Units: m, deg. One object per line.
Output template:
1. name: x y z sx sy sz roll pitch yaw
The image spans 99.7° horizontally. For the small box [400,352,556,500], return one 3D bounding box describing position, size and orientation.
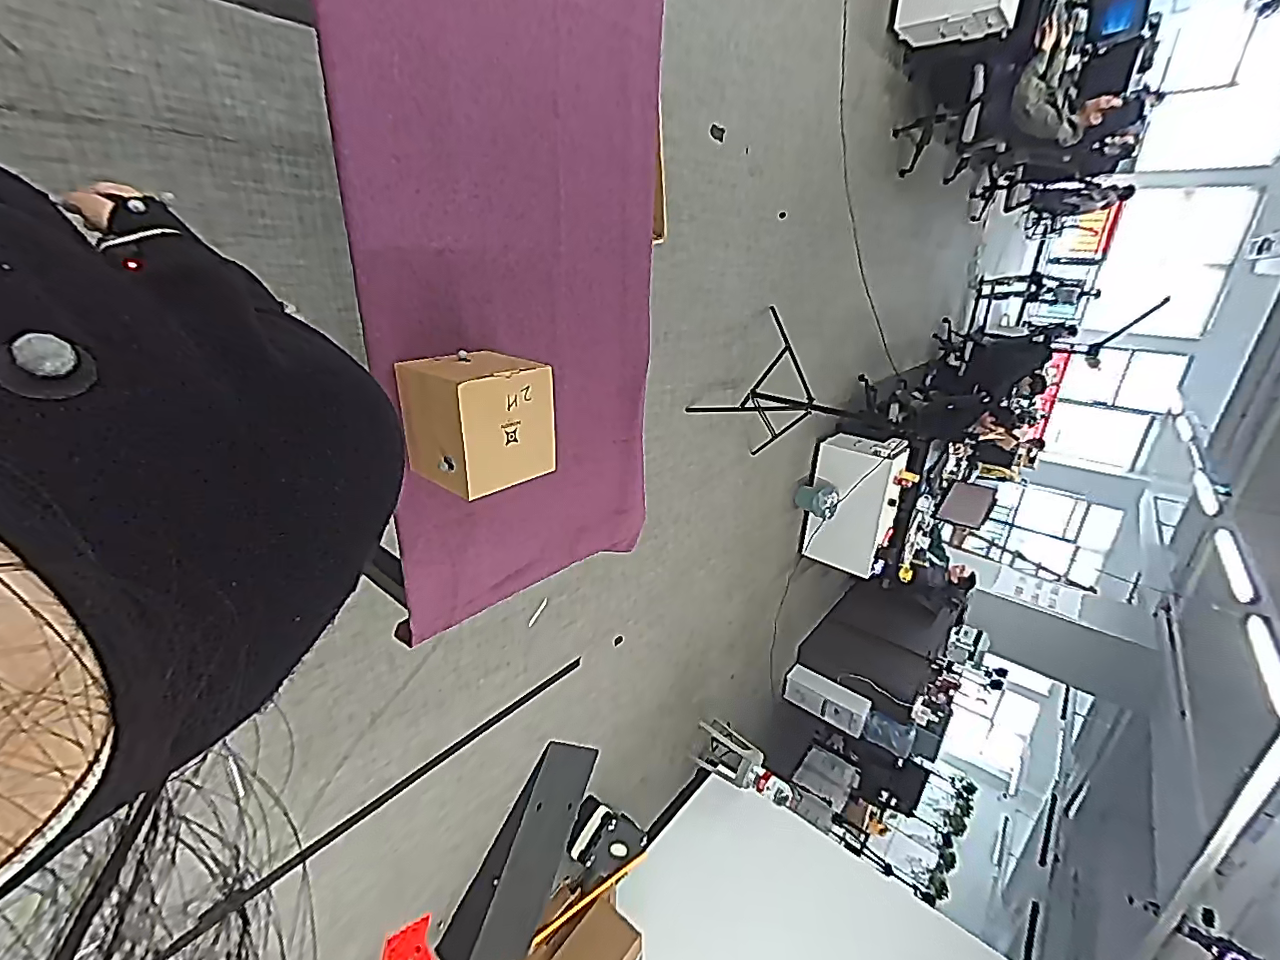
1. small box: -0.249 -0.093 0.844 0.168 0.176 0.179 -24 124 -46
